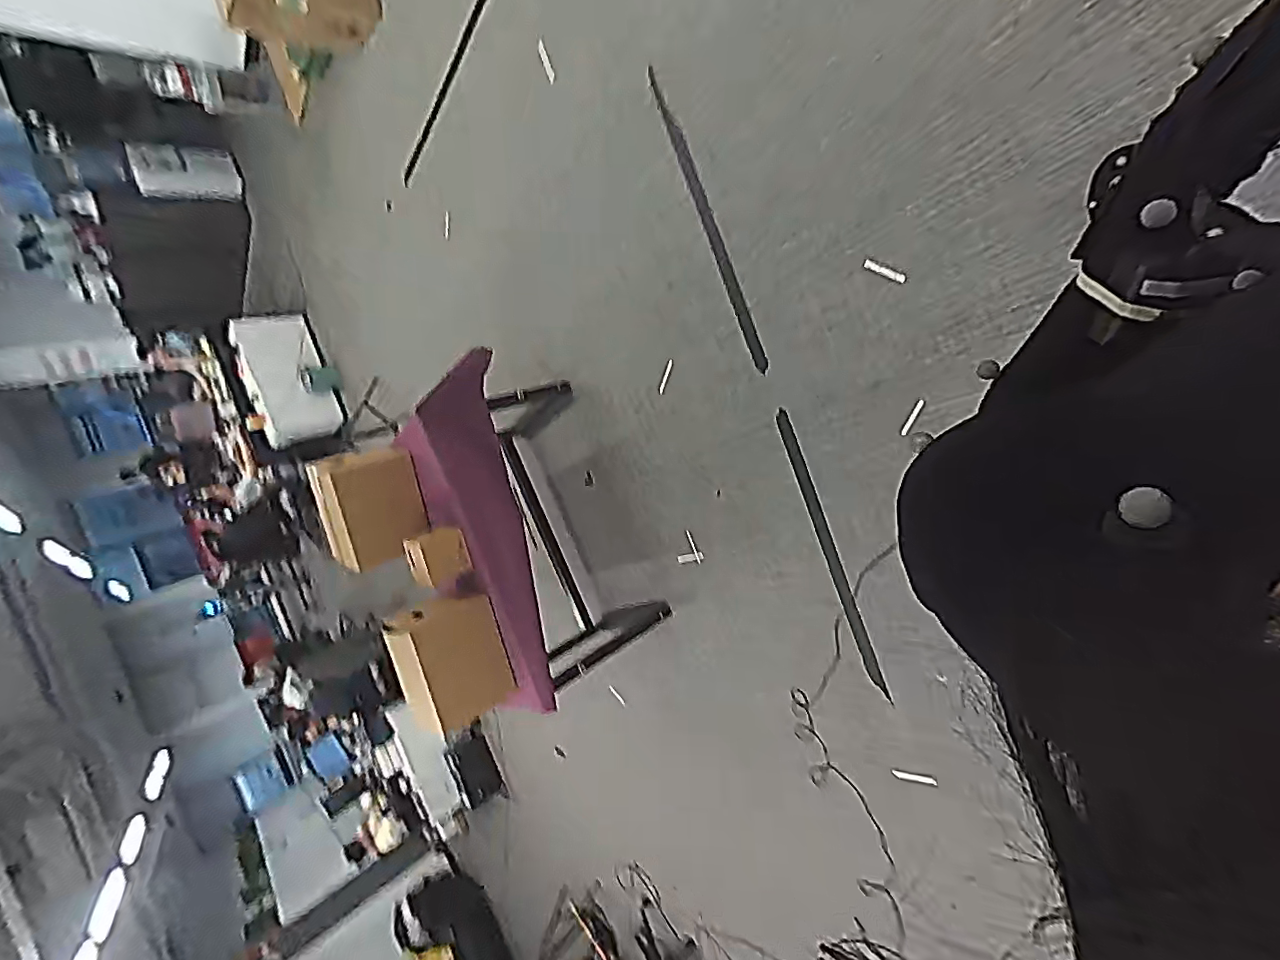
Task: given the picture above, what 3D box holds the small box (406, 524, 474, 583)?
[{"bbox_3d":[-0.757,0.270,2.049,0.179,0.176,0.168,0,107,47],"label":"small box"}]
